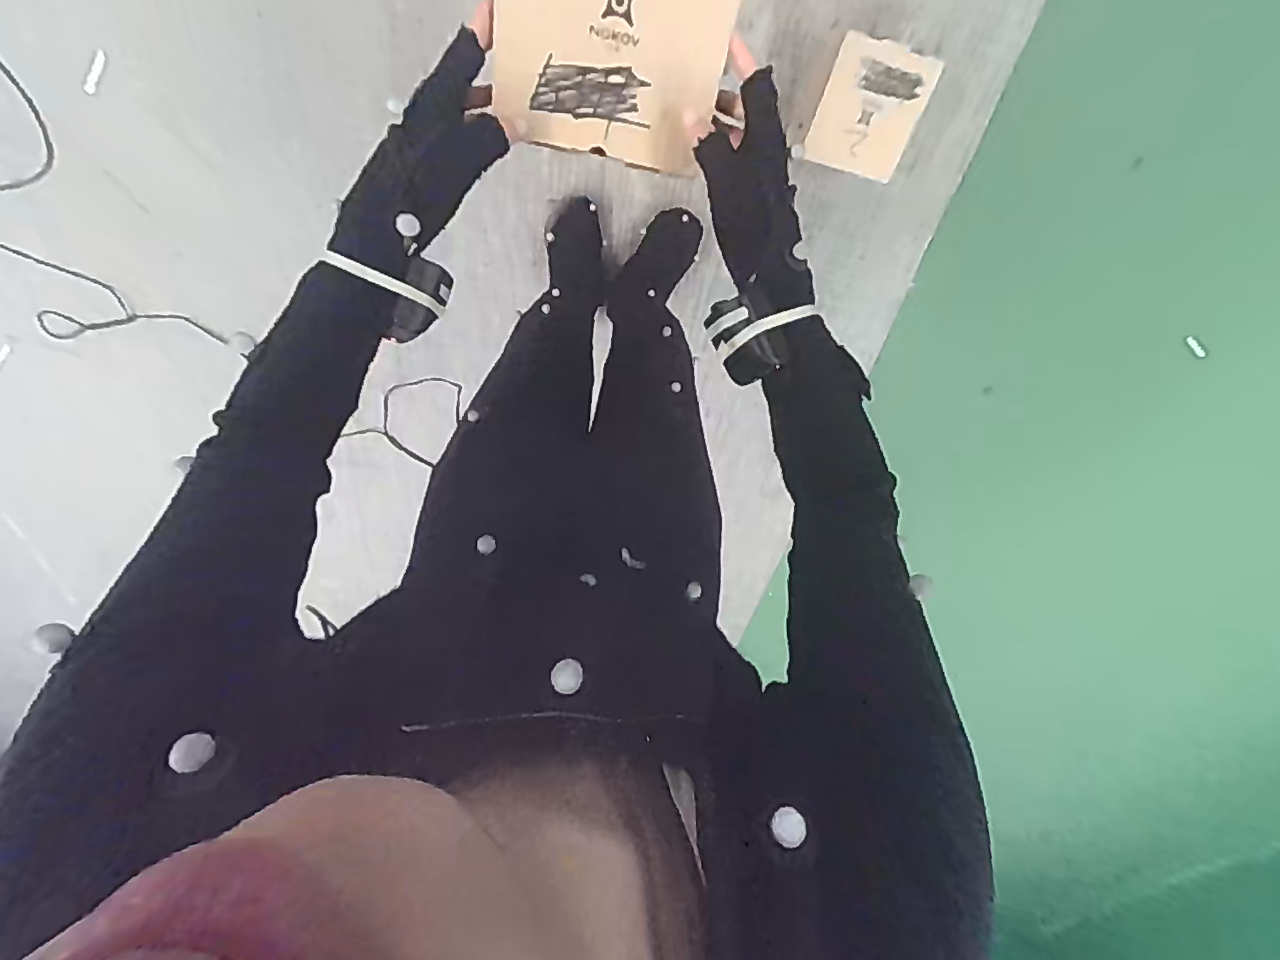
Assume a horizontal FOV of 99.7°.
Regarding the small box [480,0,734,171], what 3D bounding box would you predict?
[{"bbox_3d":[-0.023,-0.370,0.415,0.168,0.176,0.179,7,132,-10],"label":"small box"}]
